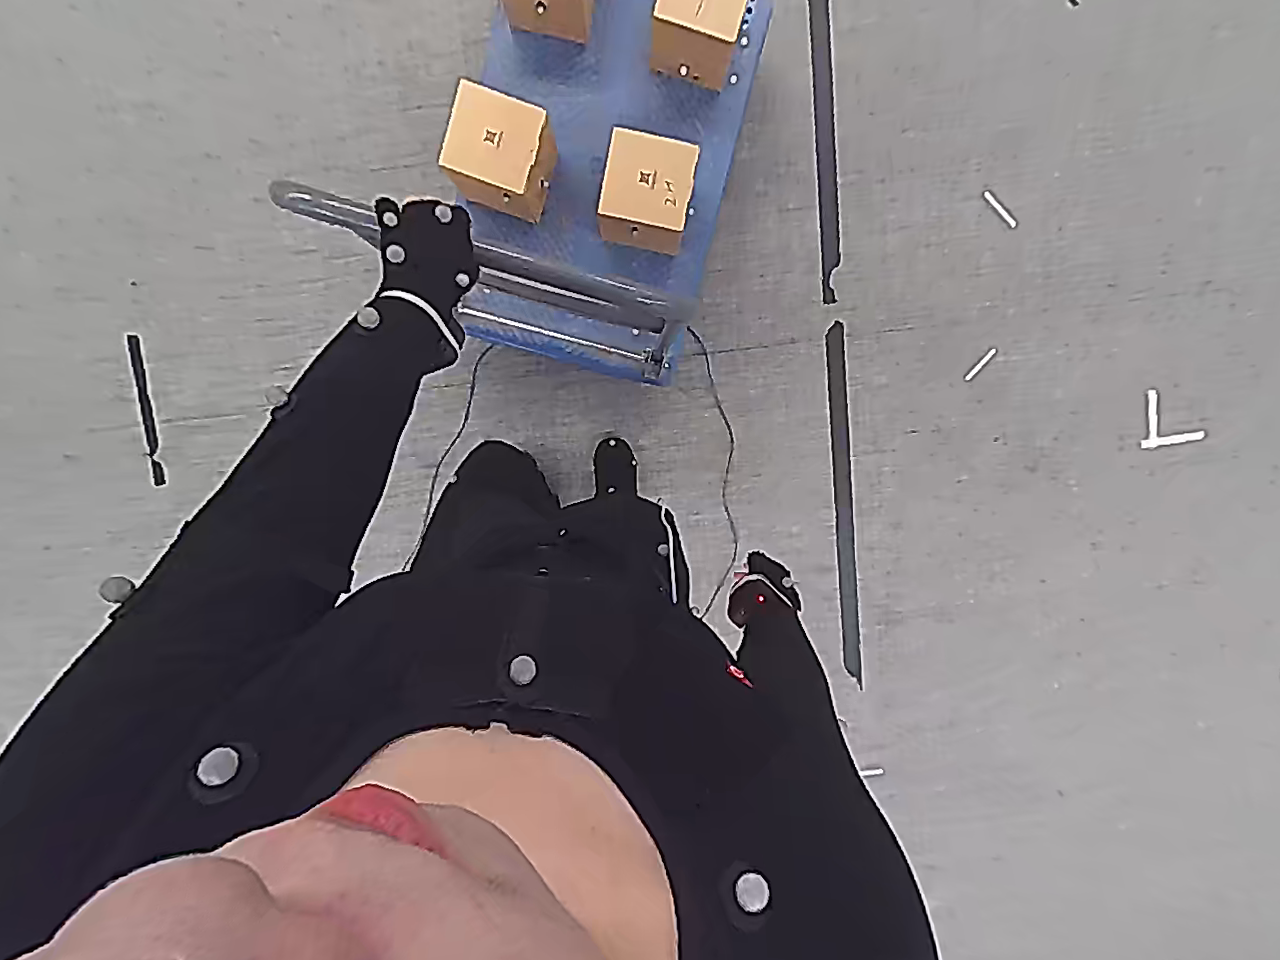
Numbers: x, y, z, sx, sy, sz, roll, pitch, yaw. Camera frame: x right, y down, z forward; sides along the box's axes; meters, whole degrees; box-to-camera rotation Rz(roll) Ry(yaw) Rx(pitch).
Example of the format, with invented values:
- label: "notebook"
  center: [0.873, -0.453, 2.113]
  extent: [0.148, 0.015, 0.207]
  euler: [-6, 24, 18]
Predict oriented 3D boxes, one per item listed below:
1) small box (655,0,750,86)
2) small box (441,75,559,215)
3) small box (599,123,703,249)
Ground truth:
- label: "small box"
  center: [0.131, -0.950, 1.085]
  extent: [0.168, 0.176, 0.179]
  euler: [17, 98, -3]
- label: "small box"
  center: [-0.280, -0.676, 1.117]
  extent: [0.179, 0.176, 0.168]
  euler: [18, 97, -5]
- label: "small box"
  center: [0.020, -0.603, 1.131]
  extent: [0.179, 0.176, 0.168]
  euler: [12, 98, -3]
